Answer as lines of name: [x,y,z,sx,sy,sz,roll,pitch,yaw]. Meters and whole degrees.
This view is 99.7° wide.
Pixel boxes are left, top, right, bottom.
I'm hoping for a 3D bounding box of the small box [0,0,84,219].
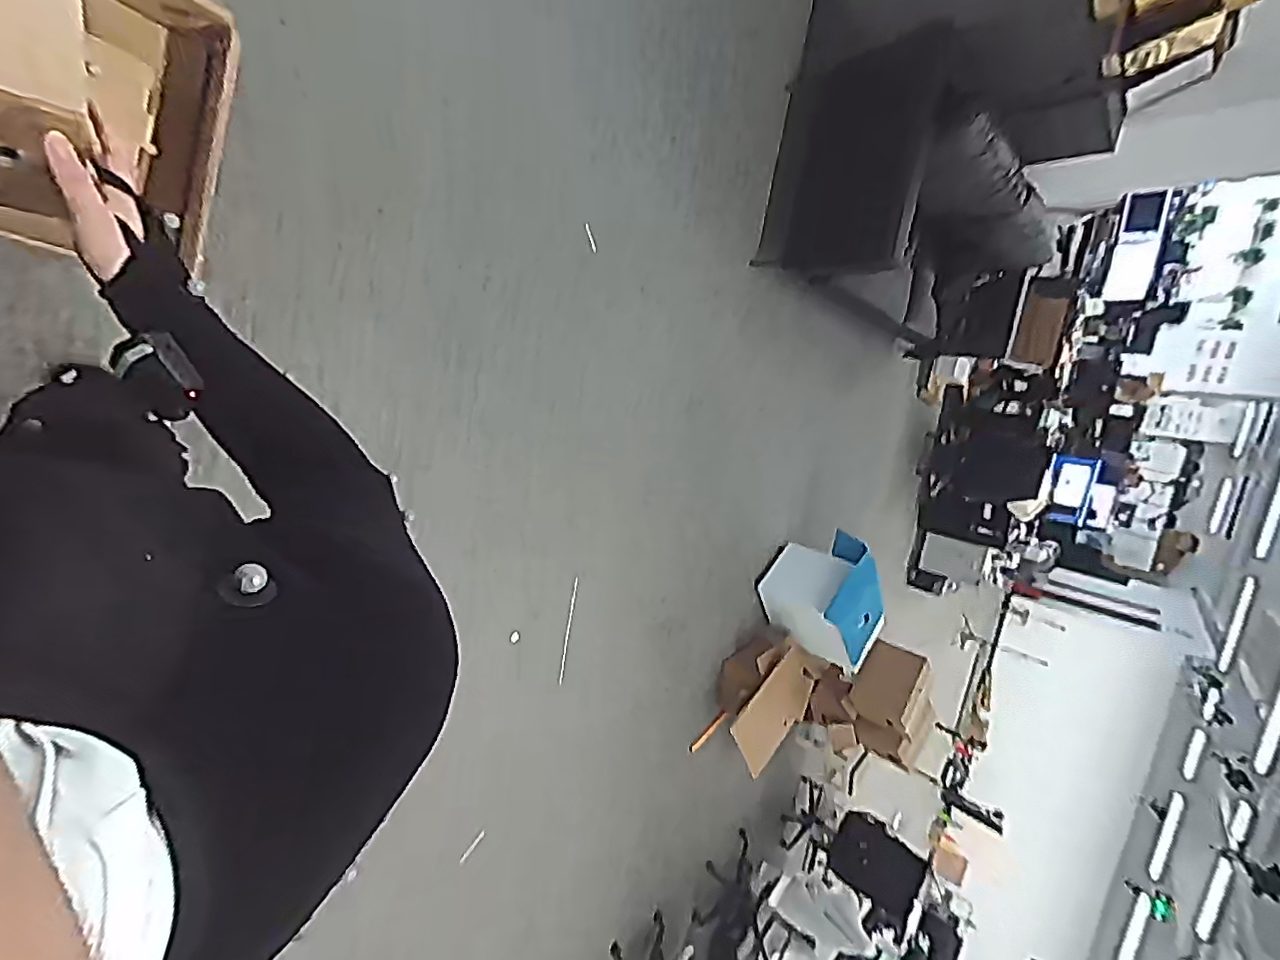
small box: [-0.564,-0.346,0.431,0.168,0.176,0.179,-2,80,-49]
